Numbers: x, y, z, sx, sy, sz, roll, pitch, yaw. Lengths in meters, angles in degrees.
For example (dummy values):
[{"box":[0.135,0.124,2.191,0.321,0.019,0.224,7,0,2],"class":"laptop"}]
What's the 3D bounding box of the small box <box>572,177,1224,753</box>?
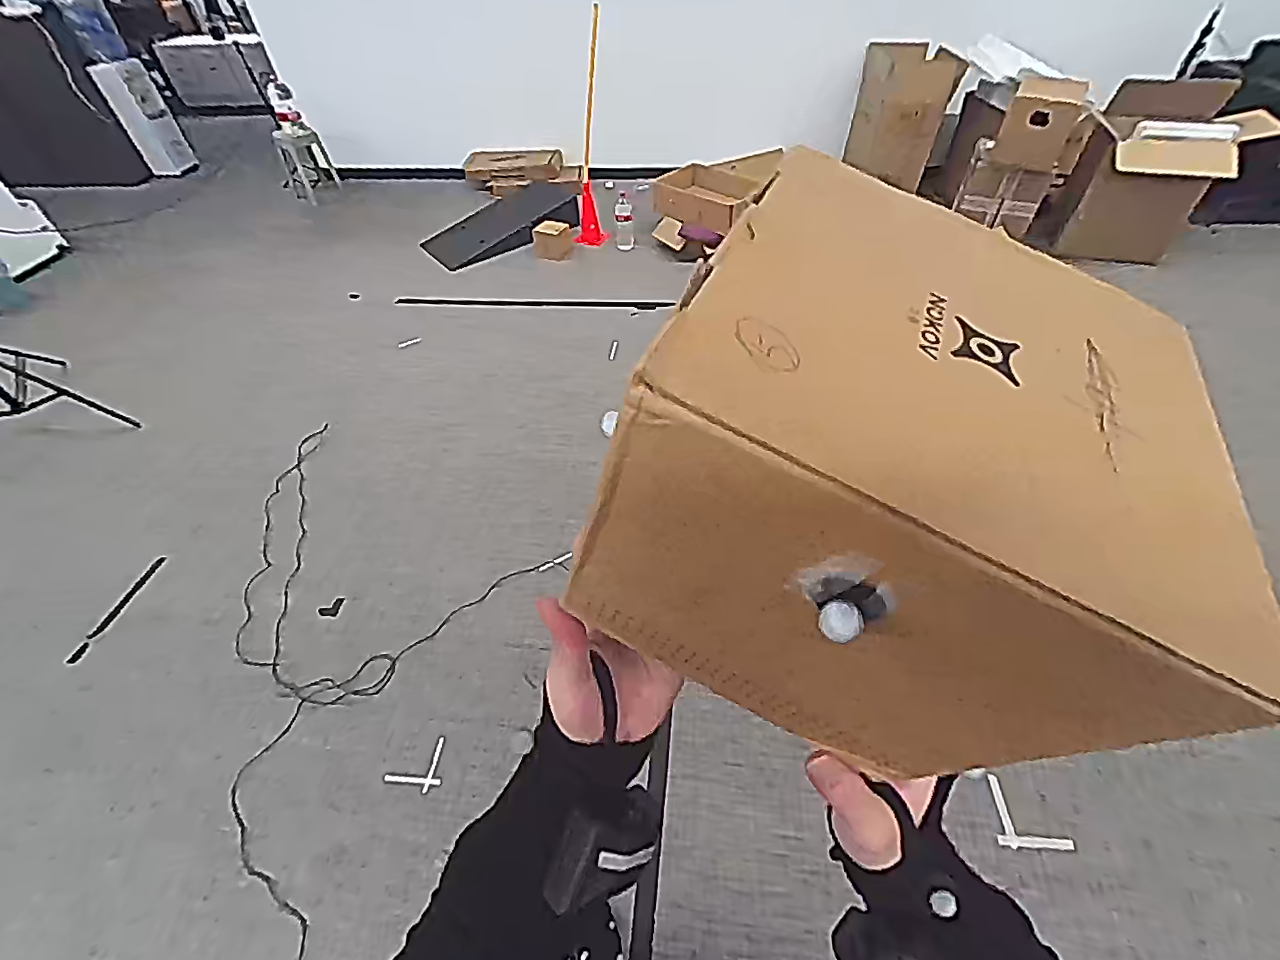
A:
[{"box":[0.084,0.006,0.252,0.179,0.176,0.168,28,55,2],"class":"small box"}]
